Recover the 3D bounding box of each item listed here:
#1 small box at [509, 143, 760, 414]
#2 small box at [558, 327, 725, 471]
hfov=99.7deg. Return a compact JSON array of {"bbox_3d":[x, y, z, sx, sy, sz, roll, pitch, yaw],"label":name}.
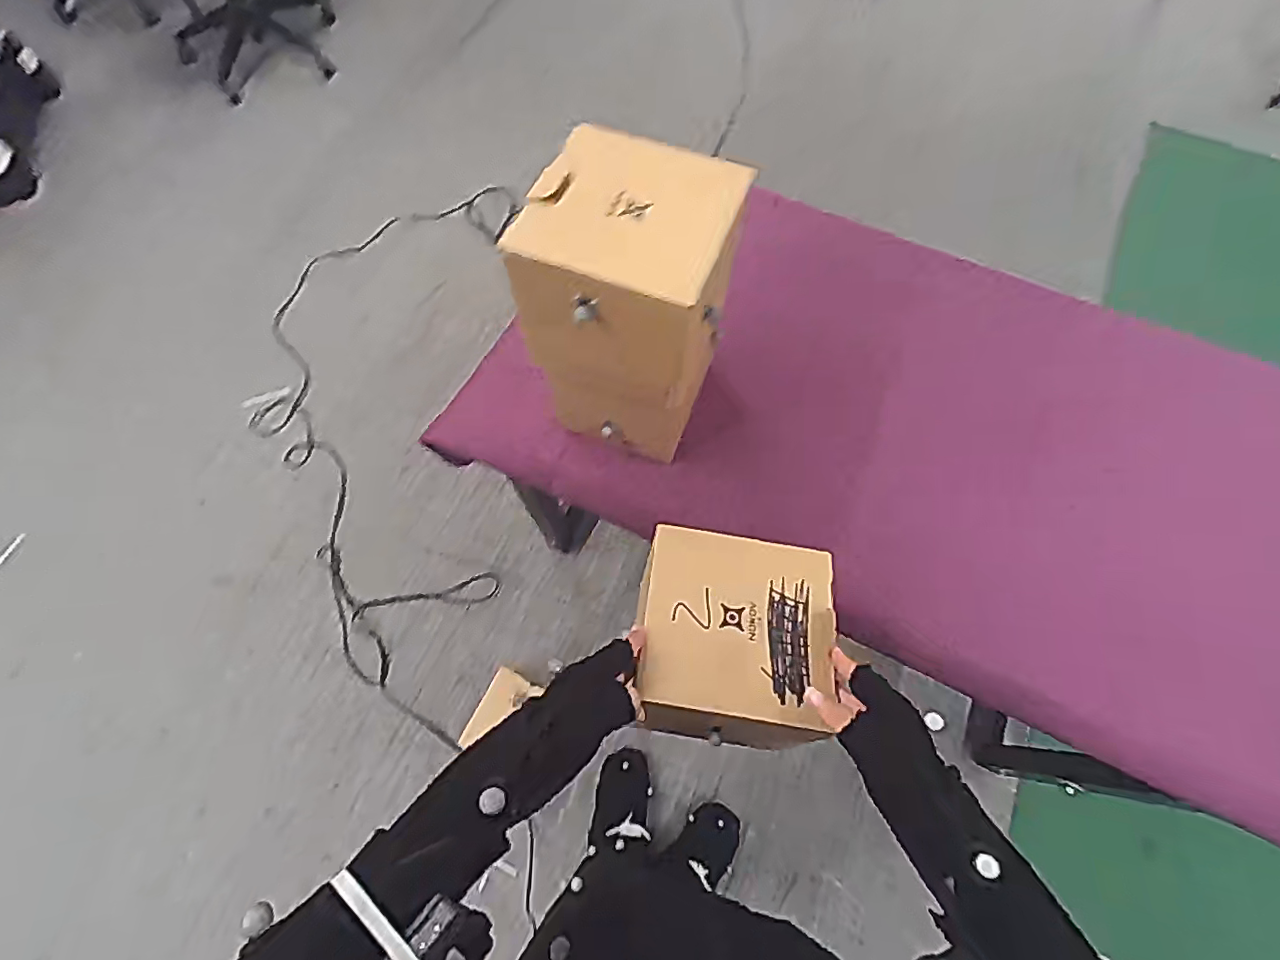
[{"bbox_3d":[-0.002,-0.189,0.546,0.179,0.176,0.168,21,68,9],"label":"small box"},{"bbox_3d":[0.000,-0.141,0.703,0.168,0.176,0.179,21,68,8],"label":"small box"}]
